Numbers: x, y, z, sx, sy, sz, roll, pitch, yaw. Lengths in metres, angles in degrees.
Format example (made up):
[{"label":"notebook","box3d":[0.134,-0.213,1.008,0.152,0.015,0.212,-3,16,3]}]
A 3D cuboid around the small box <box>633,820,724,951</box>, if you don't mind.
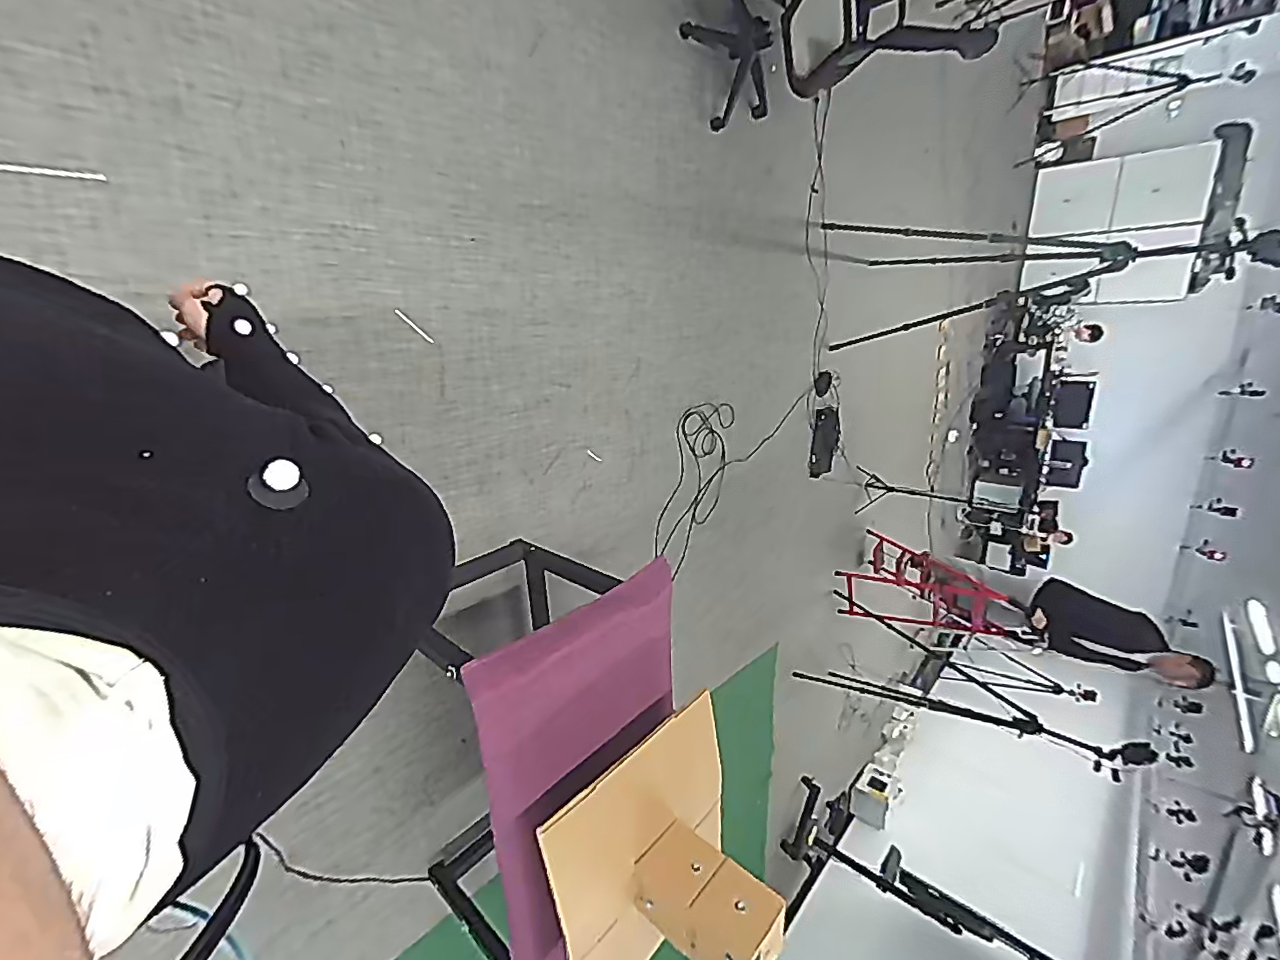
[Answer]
[{"label":"small box","box3d":[0.100,1.043,1.409,0.179,0.176,0.168,-20,116,-43]}]
